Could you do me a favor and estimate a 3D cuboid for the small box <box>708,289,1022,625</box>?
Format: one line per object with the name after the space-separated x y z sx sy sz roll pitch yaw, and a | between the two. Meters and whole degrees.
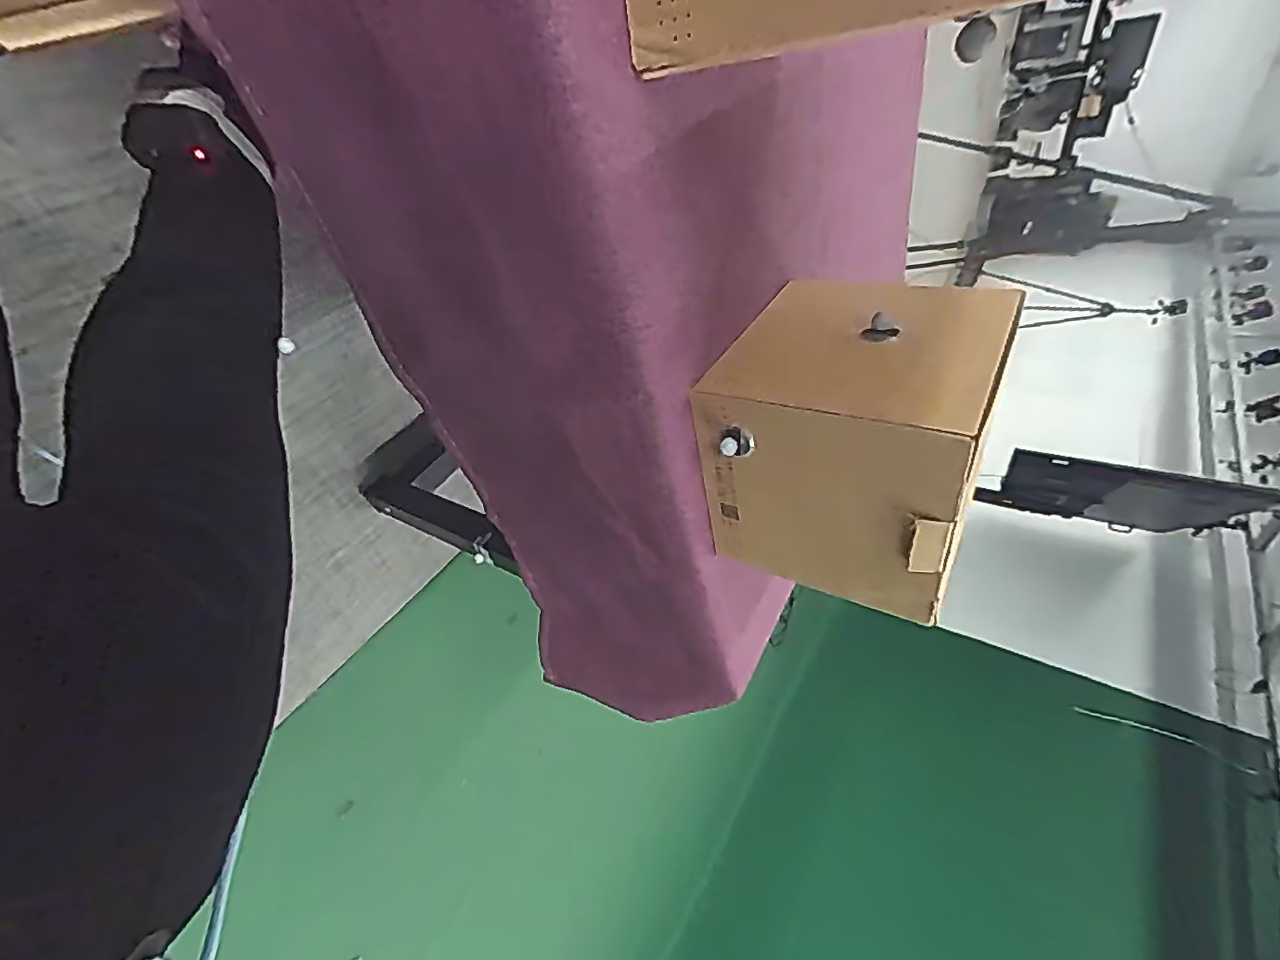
0.161 -0.031 0.410 0.179 0.176 0.168 -49 140 -34 | small box

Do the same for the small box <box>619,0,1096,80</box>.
0.099 -0.274 0.210 0.179 0.176 0.168 -44 138 -37 | small box
